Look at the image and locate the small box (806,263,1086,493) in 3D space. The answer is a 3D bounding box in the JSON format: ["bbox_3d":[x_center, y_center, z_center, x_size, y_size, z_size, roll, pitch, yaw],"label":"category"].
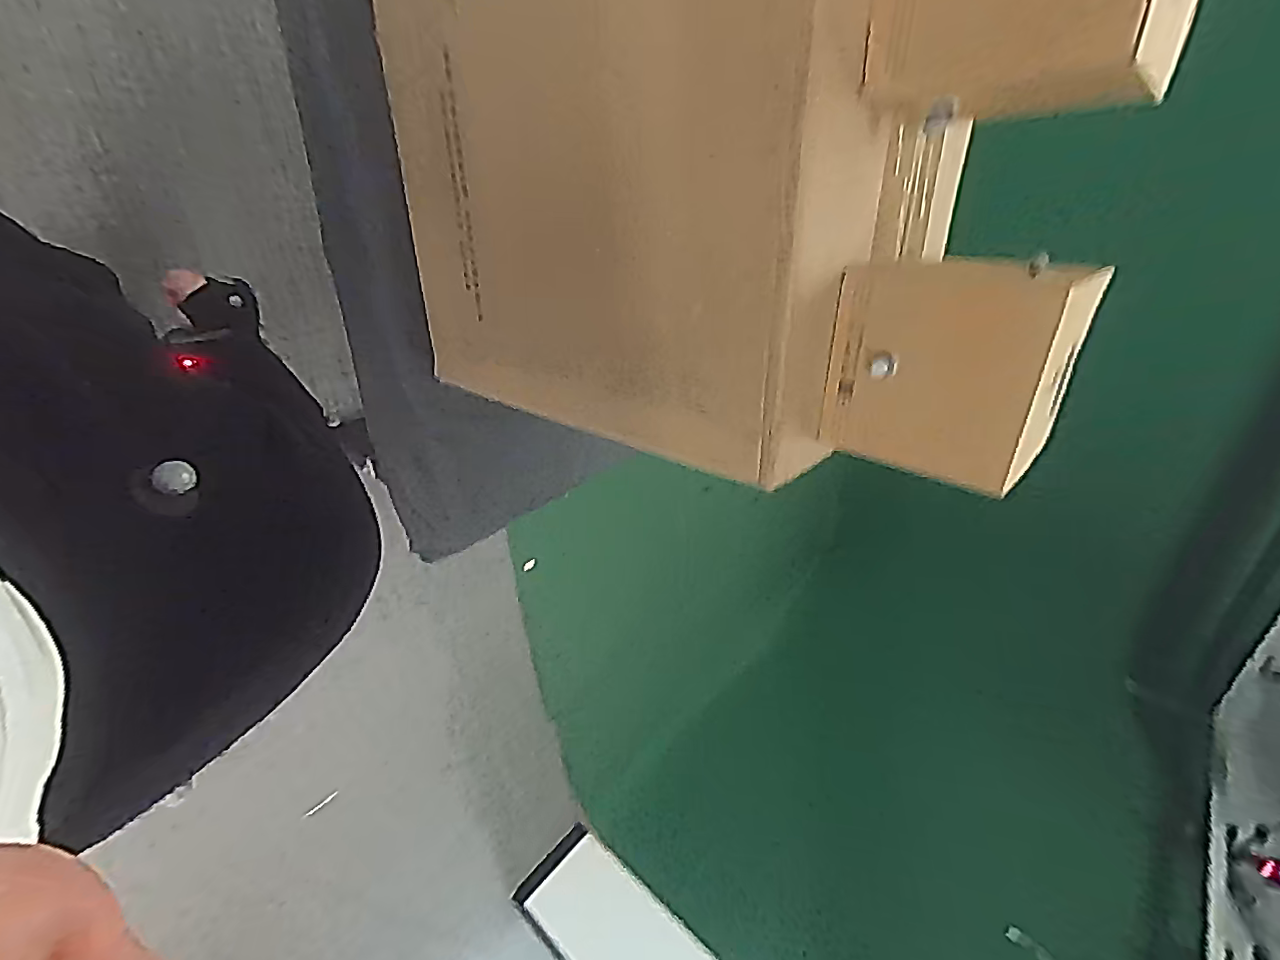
[{"bbox_3d":[0.288,-0.114,0.526,0.179,0.176,0.168,-25,126,-40],"label":"small box"}]

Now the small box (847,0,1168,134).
[{"bbox_3d":[0.271,-0.367,0.390,0.168,0.176,0.179,-24,126,-39],"label":"small box"}]
